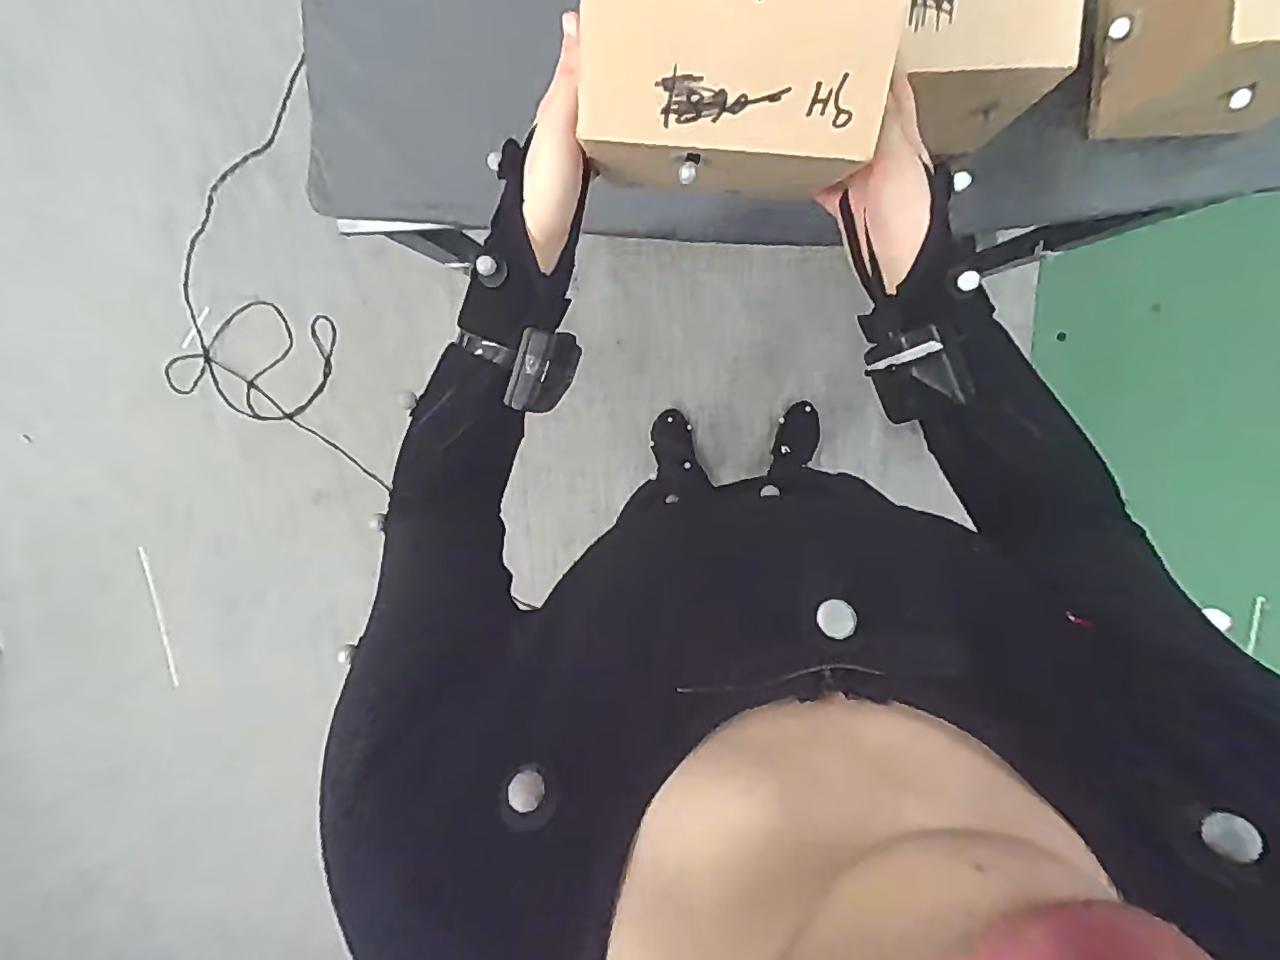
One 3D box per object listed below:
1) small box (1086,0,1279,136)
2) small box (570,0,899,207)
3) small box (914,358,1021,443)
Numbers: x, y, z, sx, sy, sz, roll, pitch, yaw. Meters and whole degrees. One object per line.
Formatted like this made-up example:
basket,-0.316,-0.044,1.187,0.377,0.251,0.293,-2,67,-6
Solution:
small box,0.594,-0.463,0.526,0.179,0.176,0.168,0,97,5
small box,0.054,-0.286,0.342,0.168,0.176,0.179,6,111,2
small box,0.789,-0.198,1.314,0.168,0.176,0.179,-9,100,5
